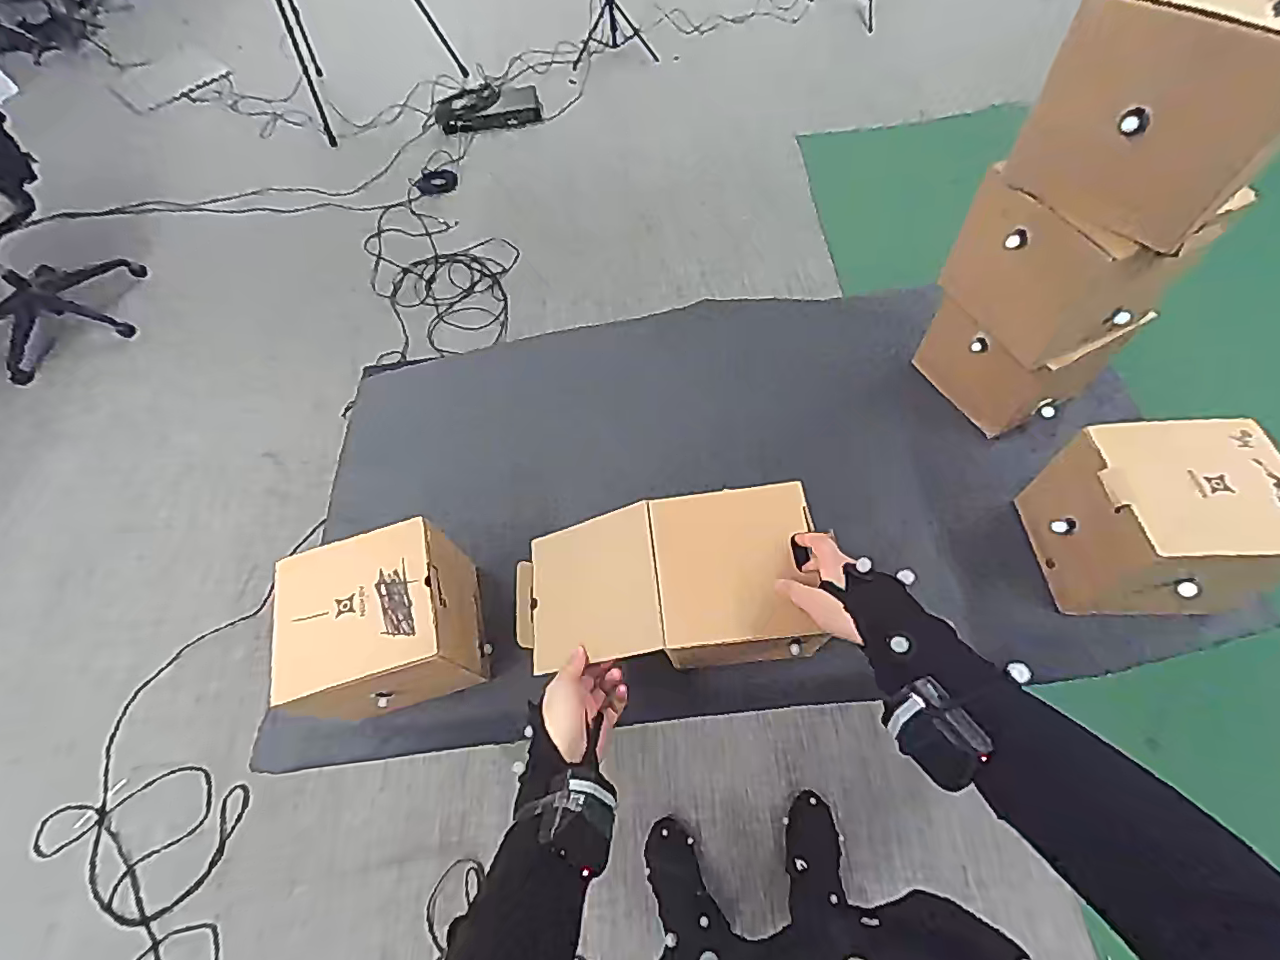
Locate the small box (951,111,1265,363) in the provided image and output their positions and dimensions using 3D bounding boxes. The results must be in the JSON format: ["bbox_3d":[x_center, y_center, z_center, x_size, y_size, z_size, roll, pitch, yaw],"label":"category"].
[{"bbox_3d":[0.500,-0.269,0.618,0.168,0.176,0.179,-24,62,-3],"label":"small box"}]

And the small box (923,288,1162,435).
[{"bbox_3d":[0.541,-0.196,0.762,0.168,0.176,0.179,-28,64,-5],"label":"small box"}]

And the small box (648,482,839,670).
[{"bbox_3d":[0.112,0.121,0.635,0.179,0.176,0.168,-9,64,4],"label":"small box"}]

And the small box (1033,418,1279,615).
[{"bbox_3d":[0.592,0.049,0.617,0.179,0.176,0.168,-2,57,6],"label":"small box"}]

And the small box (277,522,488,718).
[{"bbox_3d":[-0.295,0.175,0.653,0.179,0.176,0.168,-17,62,-3],"label":"small box"}]
